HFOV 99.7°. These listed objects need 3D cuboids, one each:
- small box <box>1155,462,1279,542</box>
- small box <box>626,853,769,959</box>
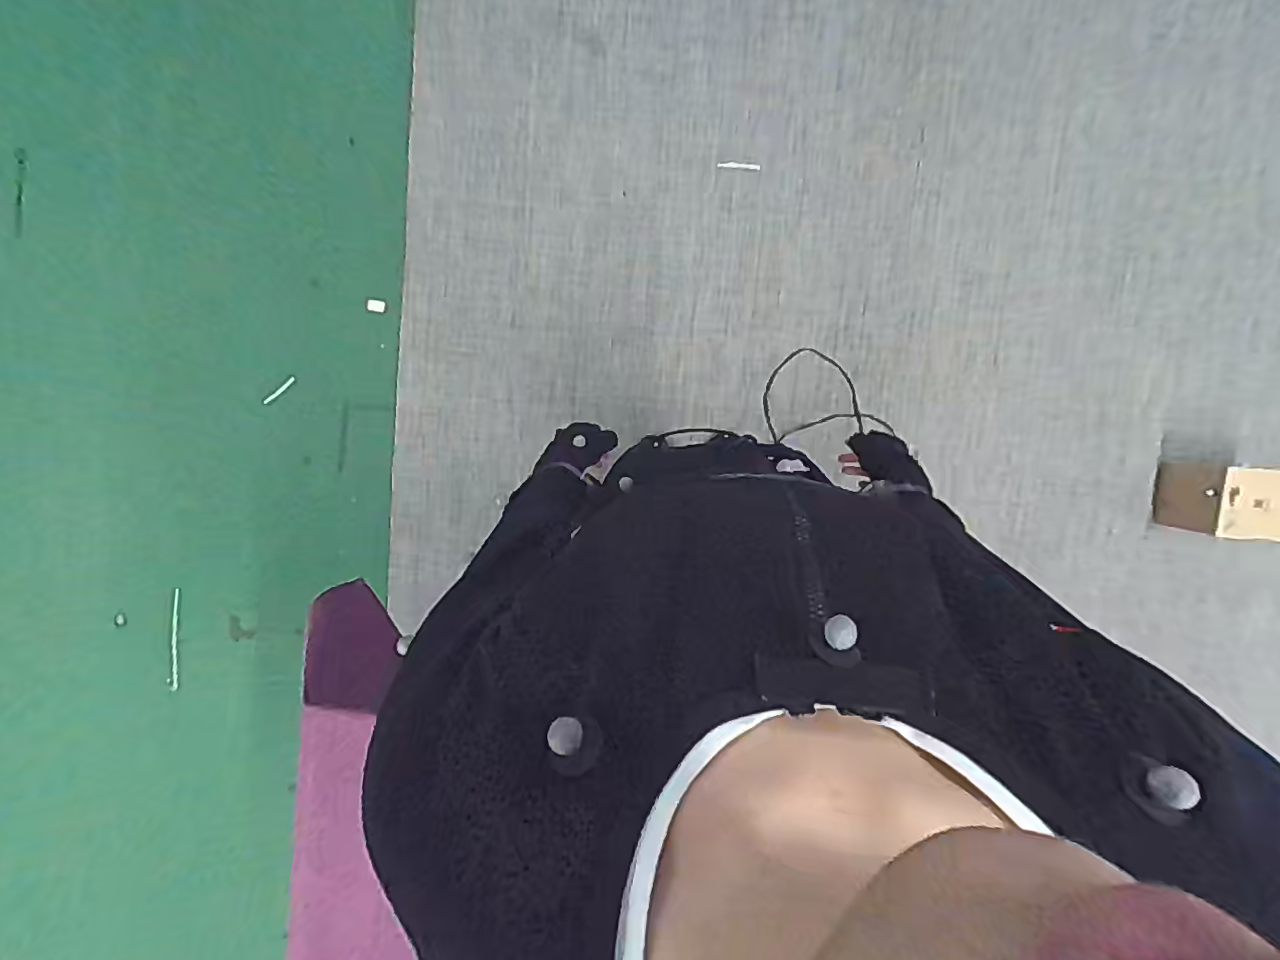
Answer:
[{"bbox_3d":[1.420,0.048,1.307,0.179,0.176,0.168,5,95,3],"label":"small box"},{"bbox_3d":[0.067,0.645,0.720,0.168,0.176,0.179,8,96,3],"label":"small box"}]
